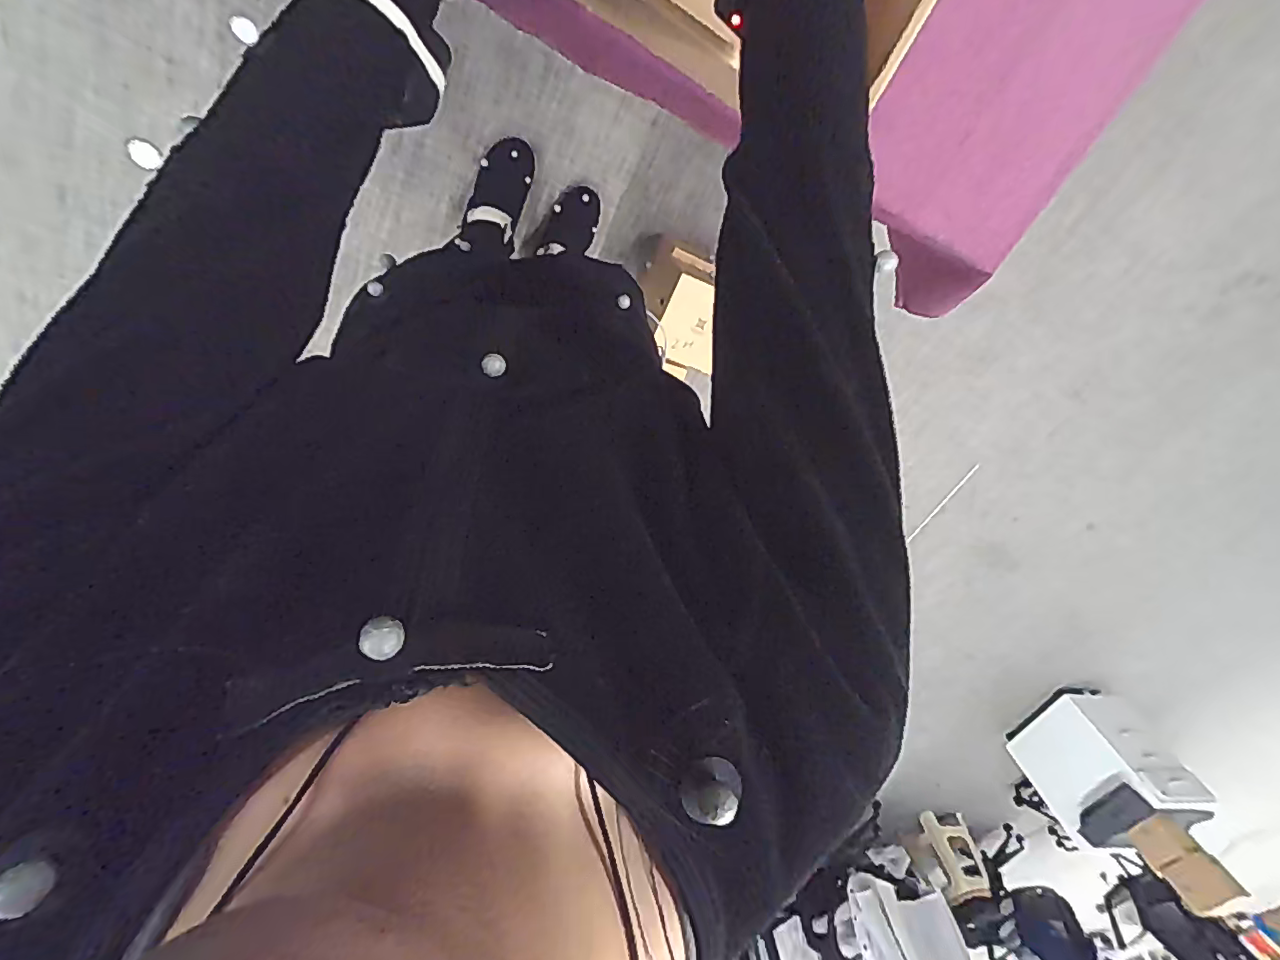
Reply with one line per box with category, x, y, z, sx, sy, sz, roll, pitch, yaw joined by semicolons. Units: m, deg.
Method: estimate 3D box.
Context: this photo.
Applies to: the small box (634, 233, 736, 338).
small box;0.102;-0.480;1.322;0.179;0.176;0.168;18;120;-20
